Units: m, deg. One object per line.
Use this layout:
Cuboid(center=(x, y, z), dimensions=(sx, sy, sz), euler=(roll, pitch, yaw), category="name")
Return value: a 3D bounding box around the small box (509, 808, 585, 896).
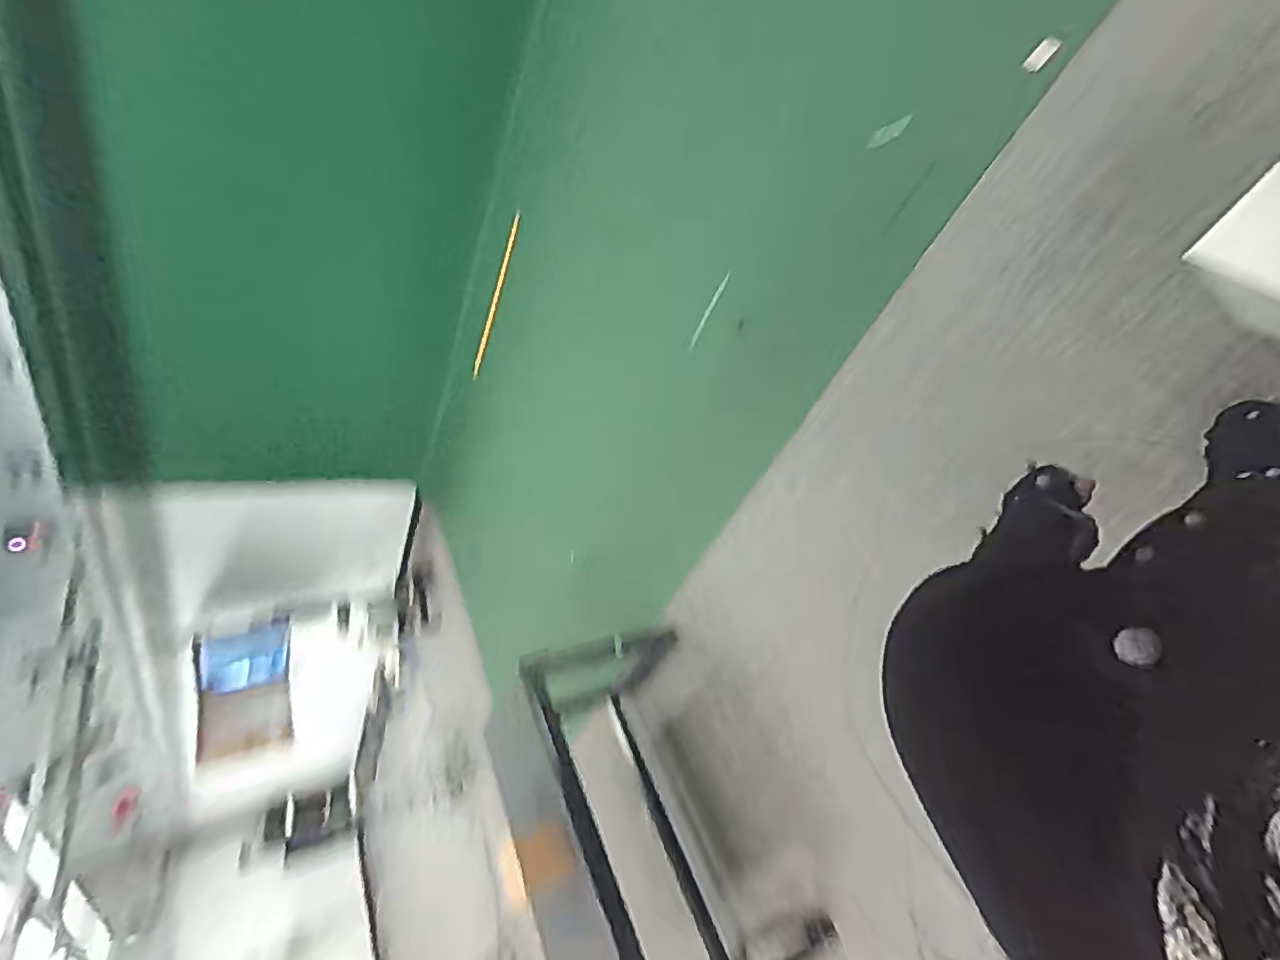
Cuboid(center=(-0.298, 1.189, 1.733), dimensions=(0.168, 0.176, 0.179), euler=(61, 136, 32), category="small box")
